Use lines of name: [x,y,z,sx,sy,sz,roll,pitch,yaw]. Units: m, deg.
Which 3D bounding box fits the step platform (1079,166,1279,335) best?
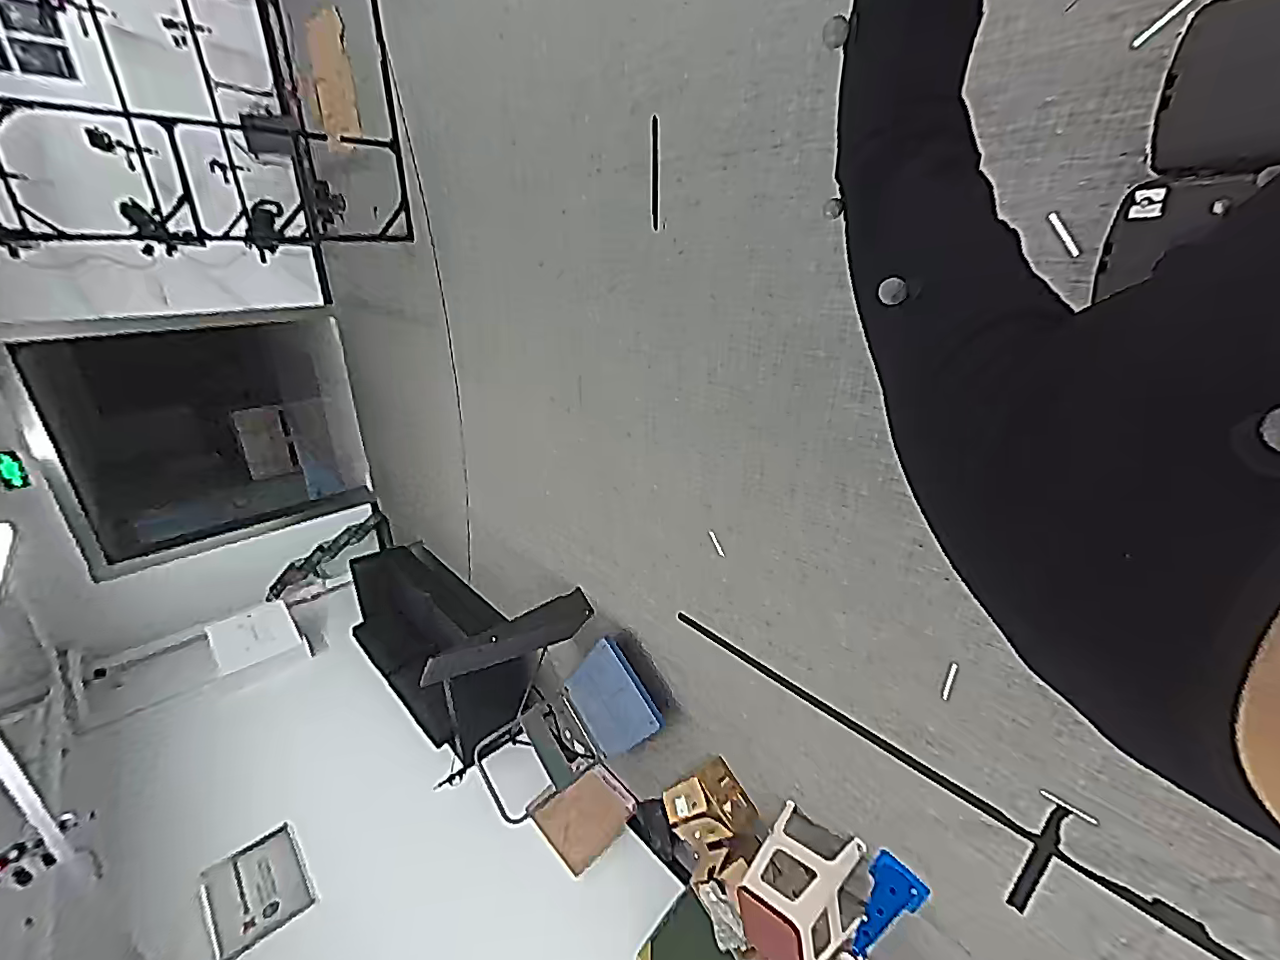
step platform: [1.221,-0.404,0.955,0.684,0.204,0.286,21,121,45]
